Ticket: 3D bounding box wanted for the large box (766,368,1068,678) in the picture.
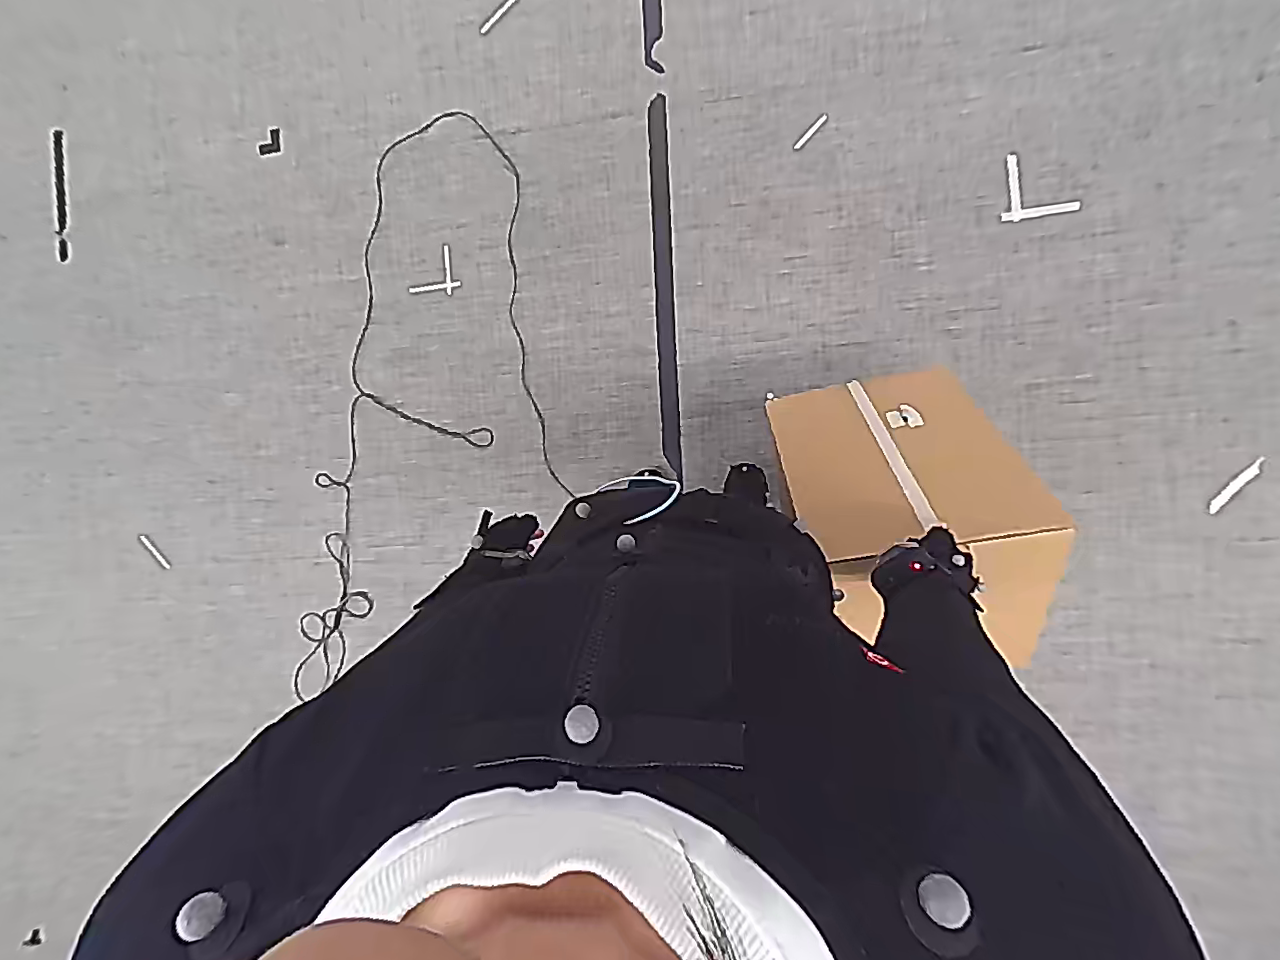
[{"bbox_3d":[0.422,0.066,0.929,0.320,0.408,0.320,-10,128,9],"label":"large box"}]
